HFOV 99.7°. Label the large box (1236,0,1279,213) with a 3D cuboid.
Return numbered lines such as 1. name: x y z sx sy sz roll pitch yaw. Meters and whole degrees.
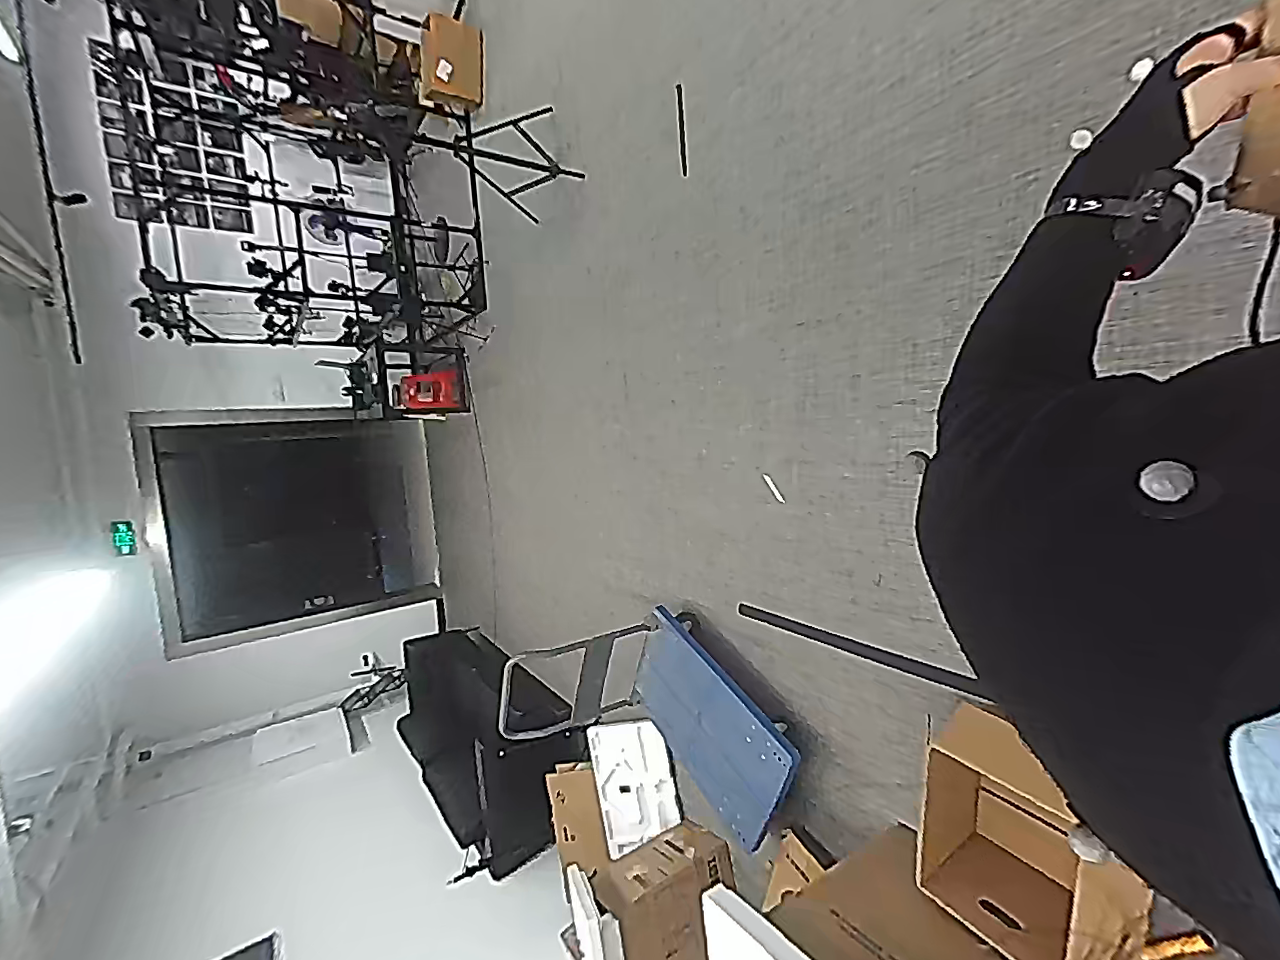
1. large box: 0.691 -0.354 0.293 0.408 0.320 0.320 20 115 59
